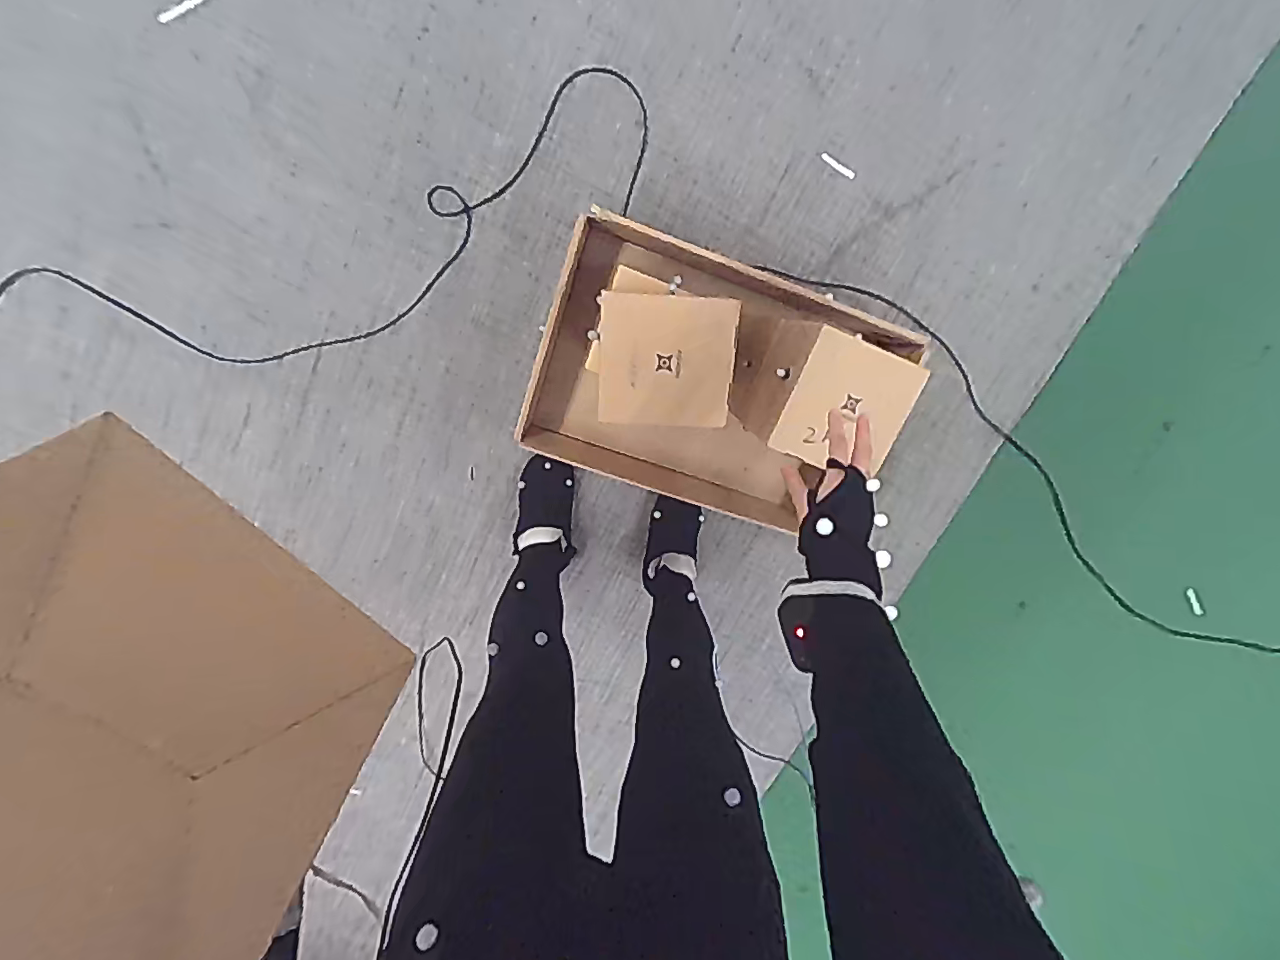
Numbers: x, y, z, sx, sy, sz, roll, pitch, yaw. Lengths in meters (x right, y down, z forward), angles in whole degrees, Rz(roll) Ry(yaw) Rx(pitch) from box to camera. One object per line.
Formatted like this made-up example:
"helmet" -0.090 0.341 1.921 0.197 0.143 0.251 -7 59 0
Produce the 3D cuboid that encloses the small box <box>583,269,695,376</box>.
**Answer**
"small box" 0.013 -0.240 0.916 0.179 0.176 0.168 18 107 -10

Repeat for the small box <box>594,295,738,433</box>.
"small box" 0.026 -0.171 0.770 0.179 0.176 0.168 2 109 -5

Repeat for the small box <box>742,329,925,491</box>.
"small box" 0.268 -0.113 0.799 0.168 0.176 0.179 21 106 -9
